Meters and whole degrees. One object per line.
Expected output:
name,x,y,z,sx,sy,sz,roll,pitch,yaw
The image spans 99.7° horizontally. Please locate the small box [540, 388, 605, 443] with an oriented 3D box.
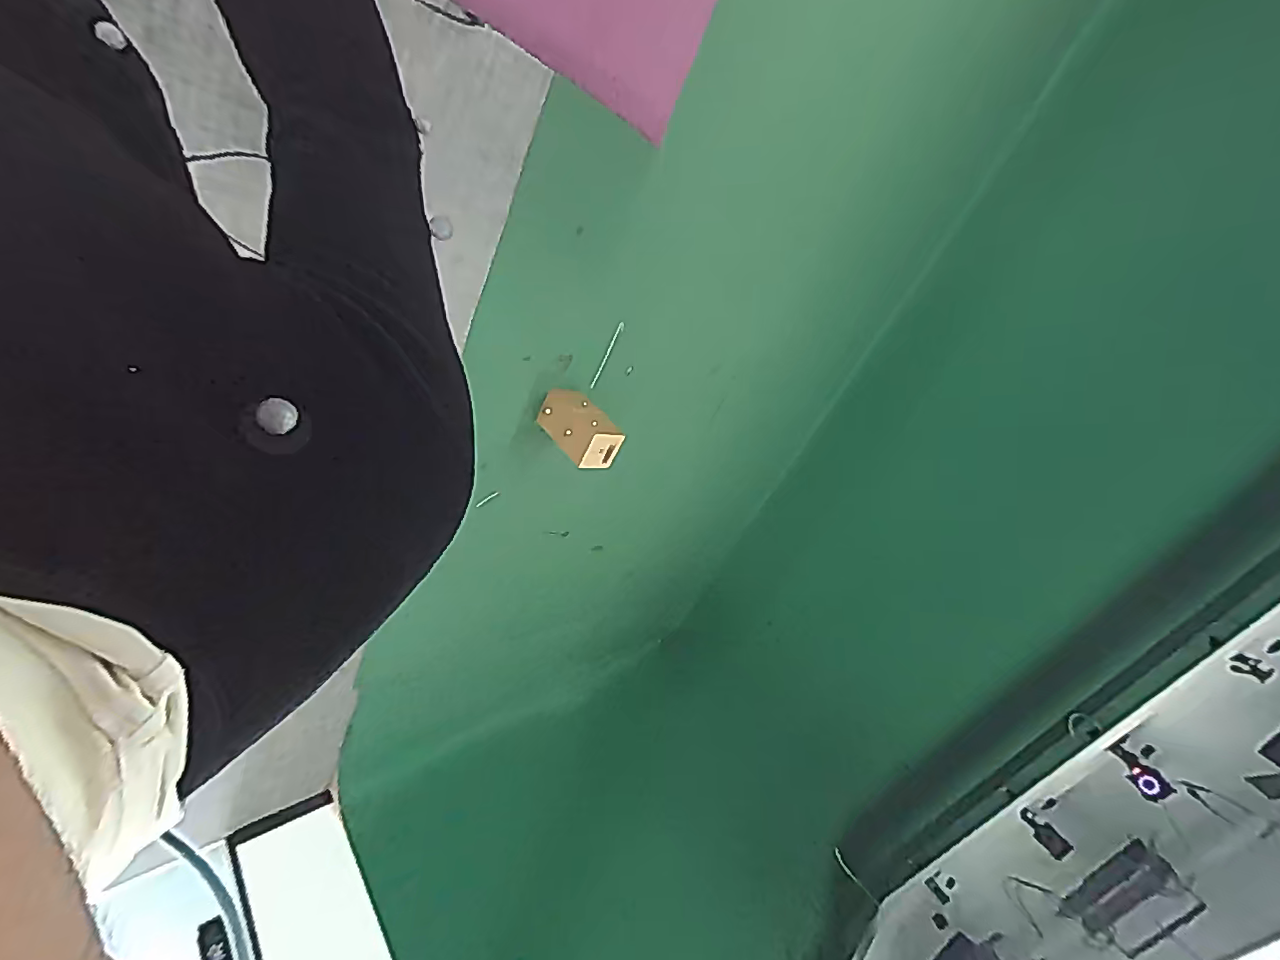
small box,-0.287,-0.274,2.284,0.179,0.176,0.168,-1,128,-49
